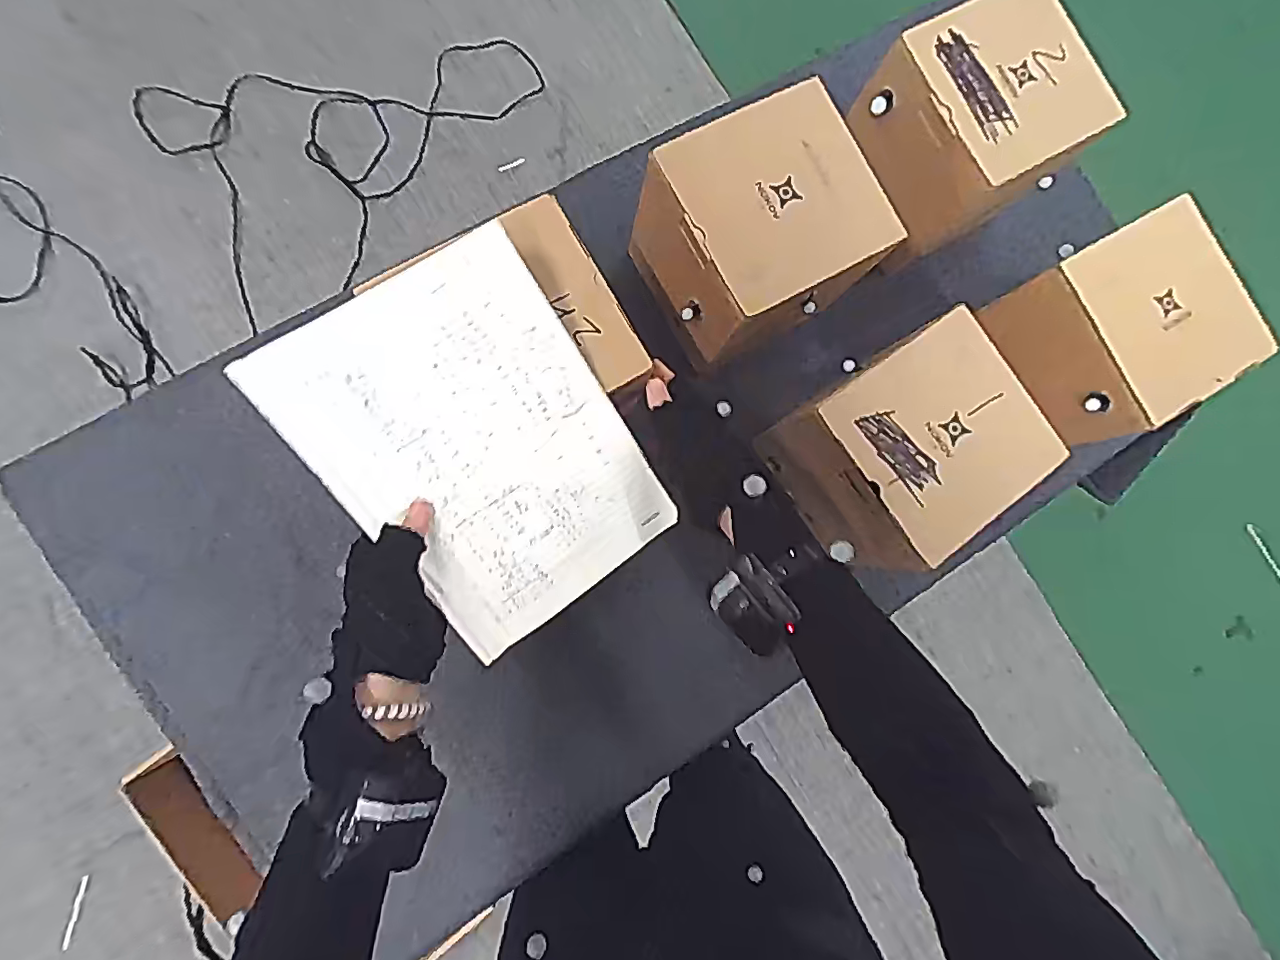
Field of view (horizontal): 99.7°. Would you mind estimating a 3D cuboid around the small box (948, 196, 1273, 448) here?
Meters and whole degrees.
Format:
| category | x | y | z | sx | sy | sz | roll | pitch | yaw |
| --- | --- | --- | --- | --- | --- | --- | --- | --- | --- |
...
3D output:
| category | x | y | z | sx | sy | sz | roll | pitch | yaw |
| --- | --- | --- | --- | --- | --- | --- | --- | --- | --- |
| small box | 0.481 | -0.154 | 0.582 | 0.168 | 0.176 | 0.179 | -28 | 88 | -9 |
